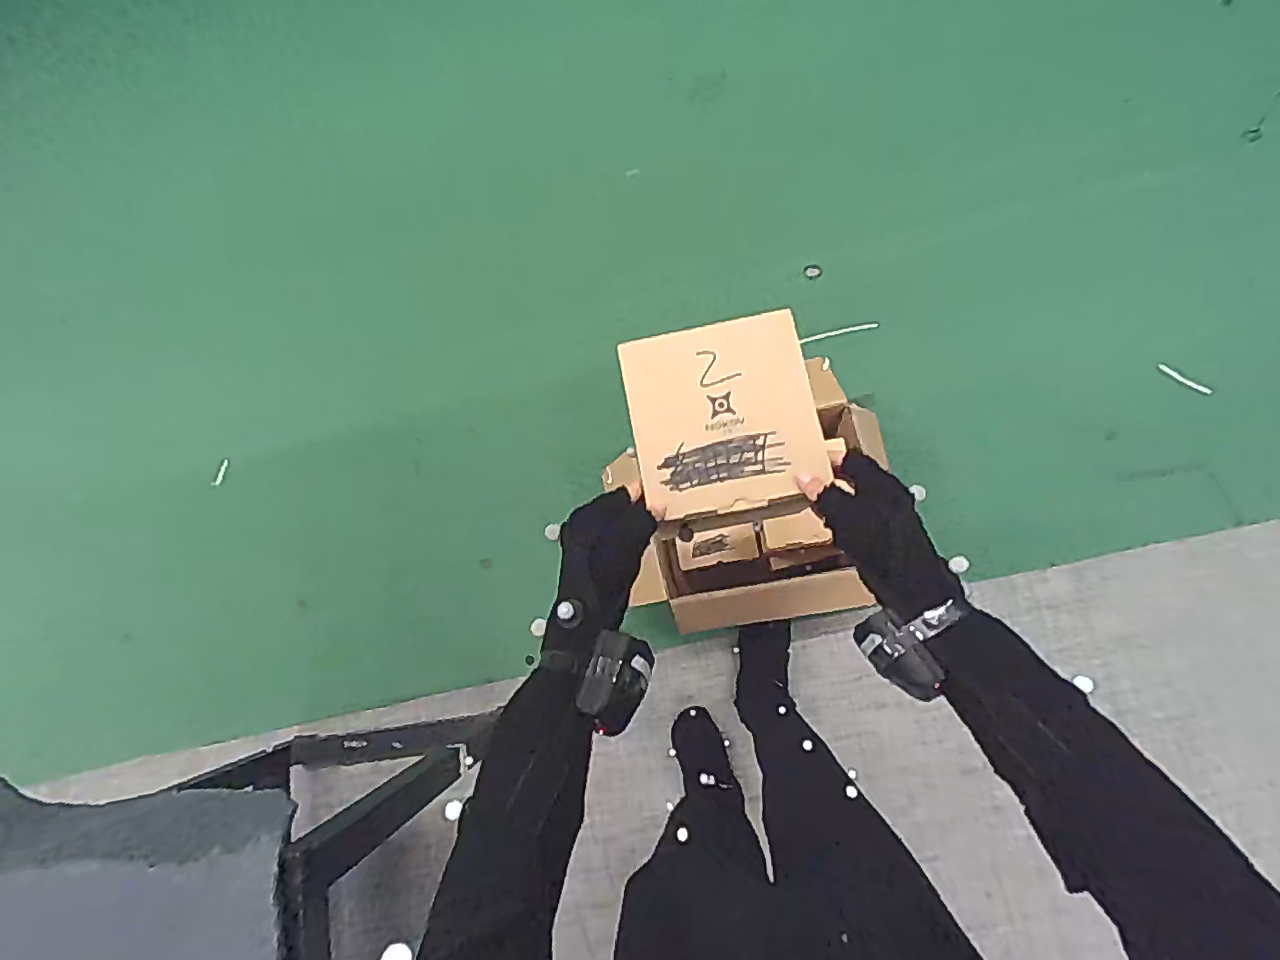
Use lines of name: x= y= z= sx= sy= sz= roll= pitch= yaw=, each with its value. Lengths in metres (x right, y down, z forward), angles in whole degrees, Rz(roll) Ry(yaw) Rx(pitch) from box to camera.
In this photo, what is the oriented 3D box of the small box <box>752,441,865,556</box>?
small box: x=0.308 y=0.042 z=1.025 sx=0.168 sy=0.176 sz=0.179 roll=-10 pitch=77 yaw=9
